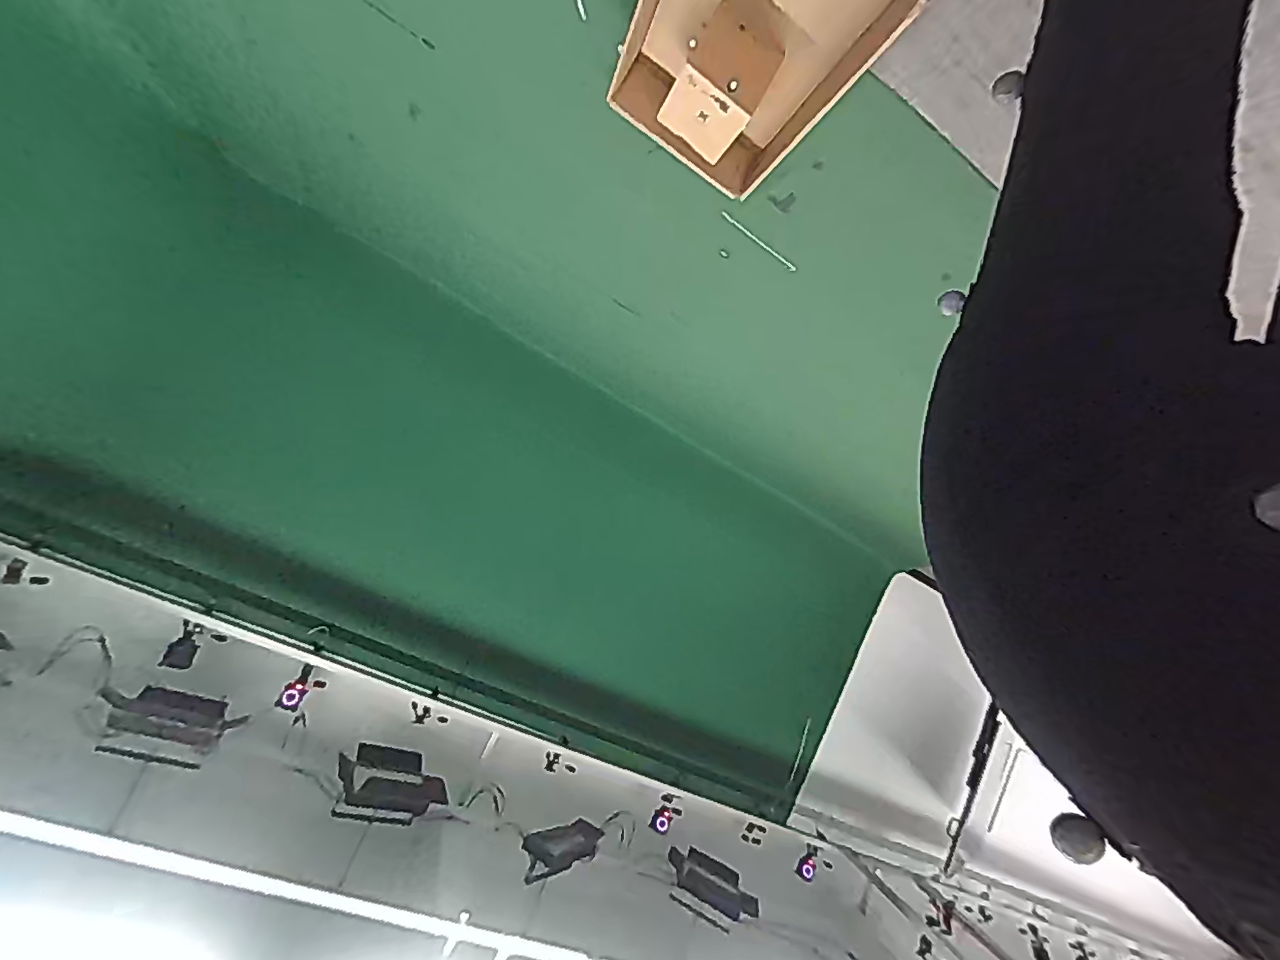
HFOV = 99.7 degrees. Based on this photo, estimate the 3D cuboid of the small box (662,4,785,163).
[{"bbox_3d":[0.177,-0.838,1.155,0.168,0.176,0.179,31,171,-16],"label":"small box"}]
